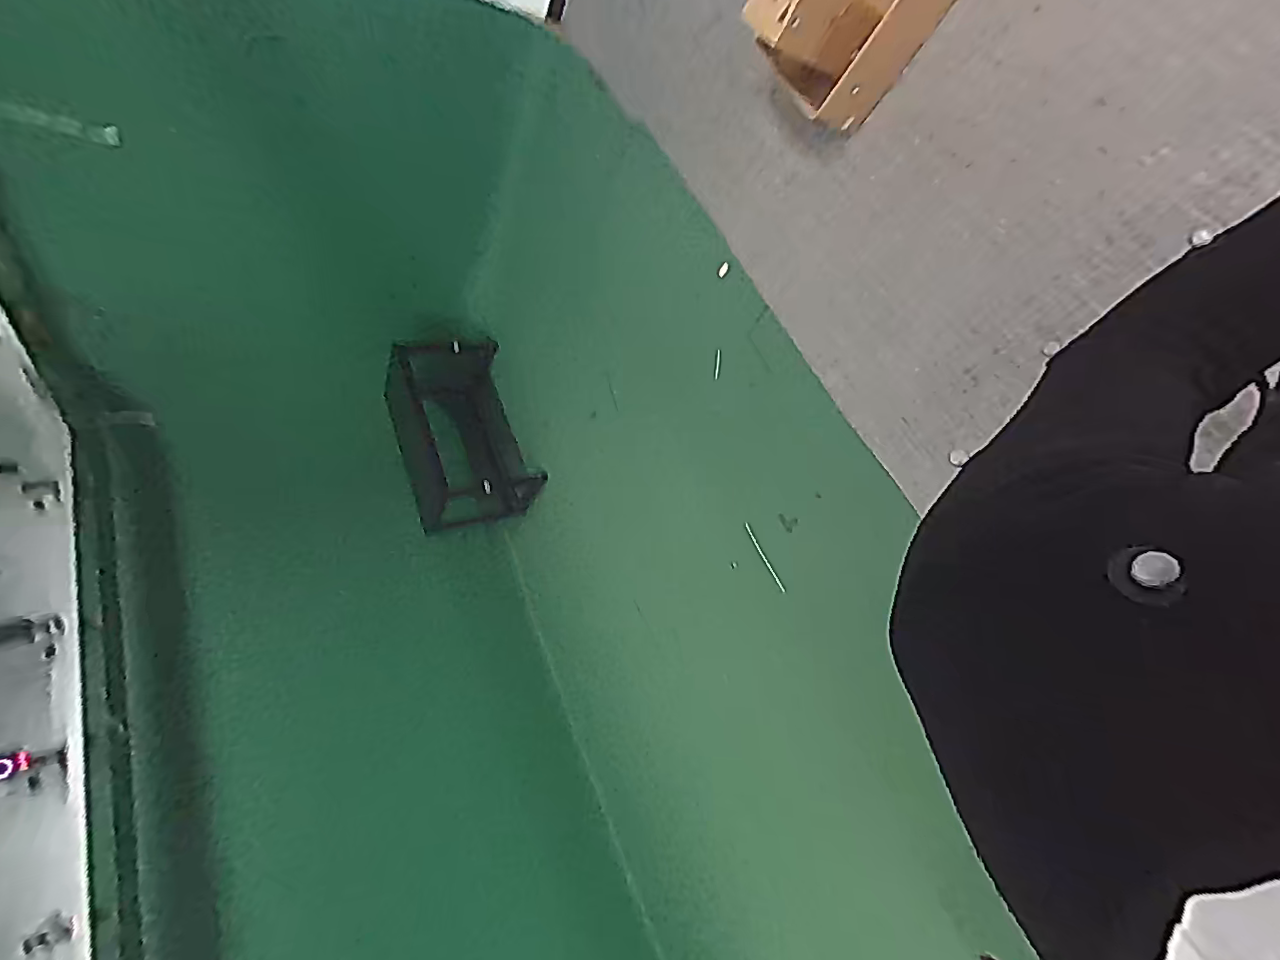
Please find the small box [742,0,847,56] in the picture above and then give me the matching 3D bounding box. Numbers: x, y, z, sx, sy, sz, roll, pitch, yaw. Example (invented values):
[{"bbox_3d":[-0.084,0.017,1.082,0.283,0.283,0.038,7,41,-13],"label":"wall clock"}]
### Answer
[{"bbox_3d":[0.410,-1.272,1.431,0.179,0.176,0.168,63,142,22],"label":"small box"}]
